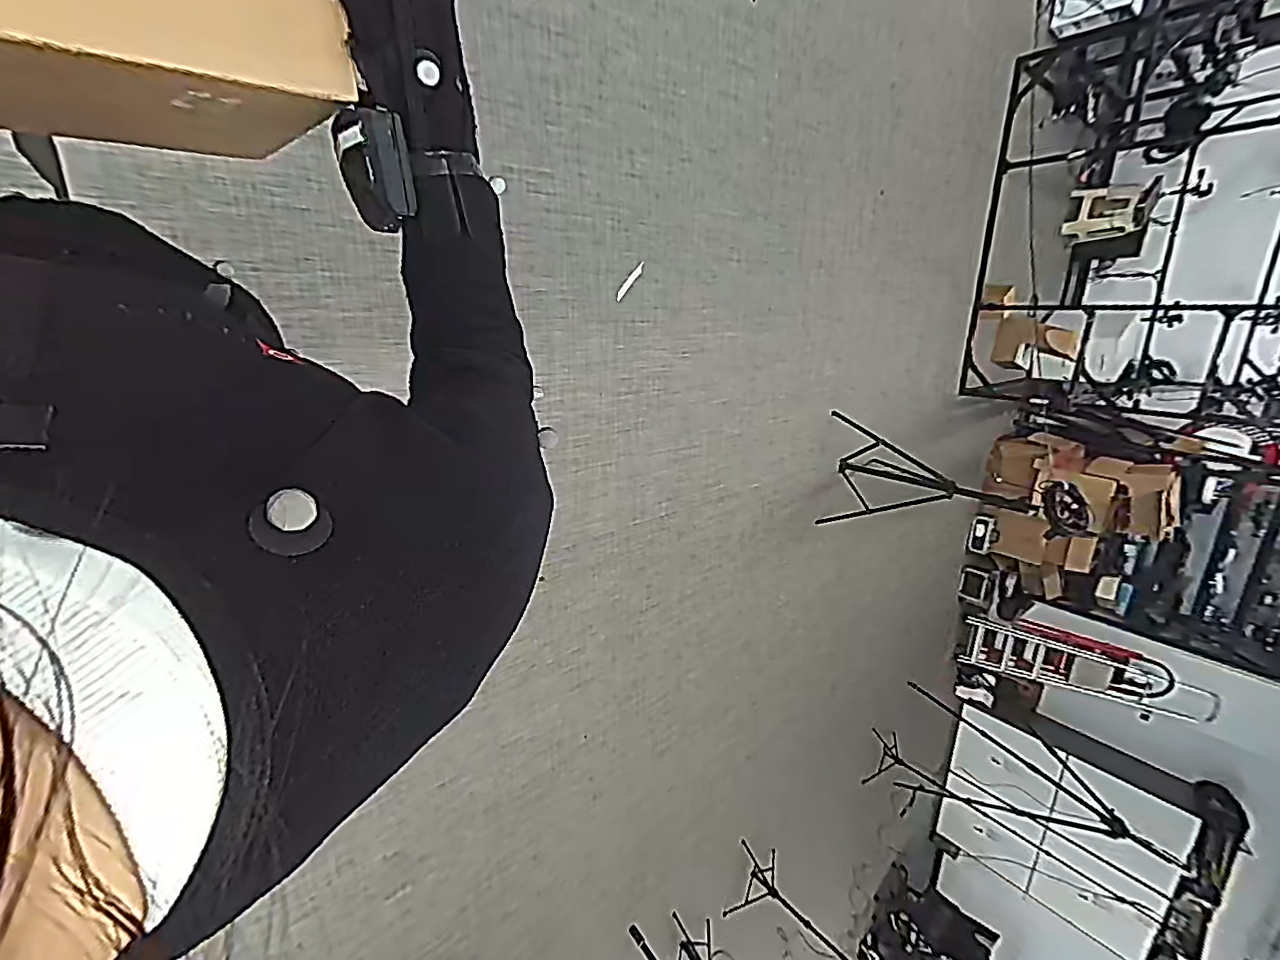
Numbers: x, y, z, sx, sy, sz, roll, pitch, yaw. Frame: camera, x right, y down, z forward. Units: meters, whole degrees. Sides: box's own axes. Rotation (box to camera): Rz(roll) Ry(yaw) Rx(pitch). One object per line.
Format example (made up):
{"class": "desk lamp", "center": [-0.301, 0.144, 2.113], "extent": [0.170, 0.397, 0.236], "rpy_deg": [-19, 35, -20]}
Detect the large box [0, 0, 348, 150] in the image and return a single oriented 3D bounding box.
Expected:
{"class": "large box", "center": [-0.429, -0.377, 0.262], "extent": [0.408, 0.320, 0.320], "rpy_deg": [-18, 120, -39]}
